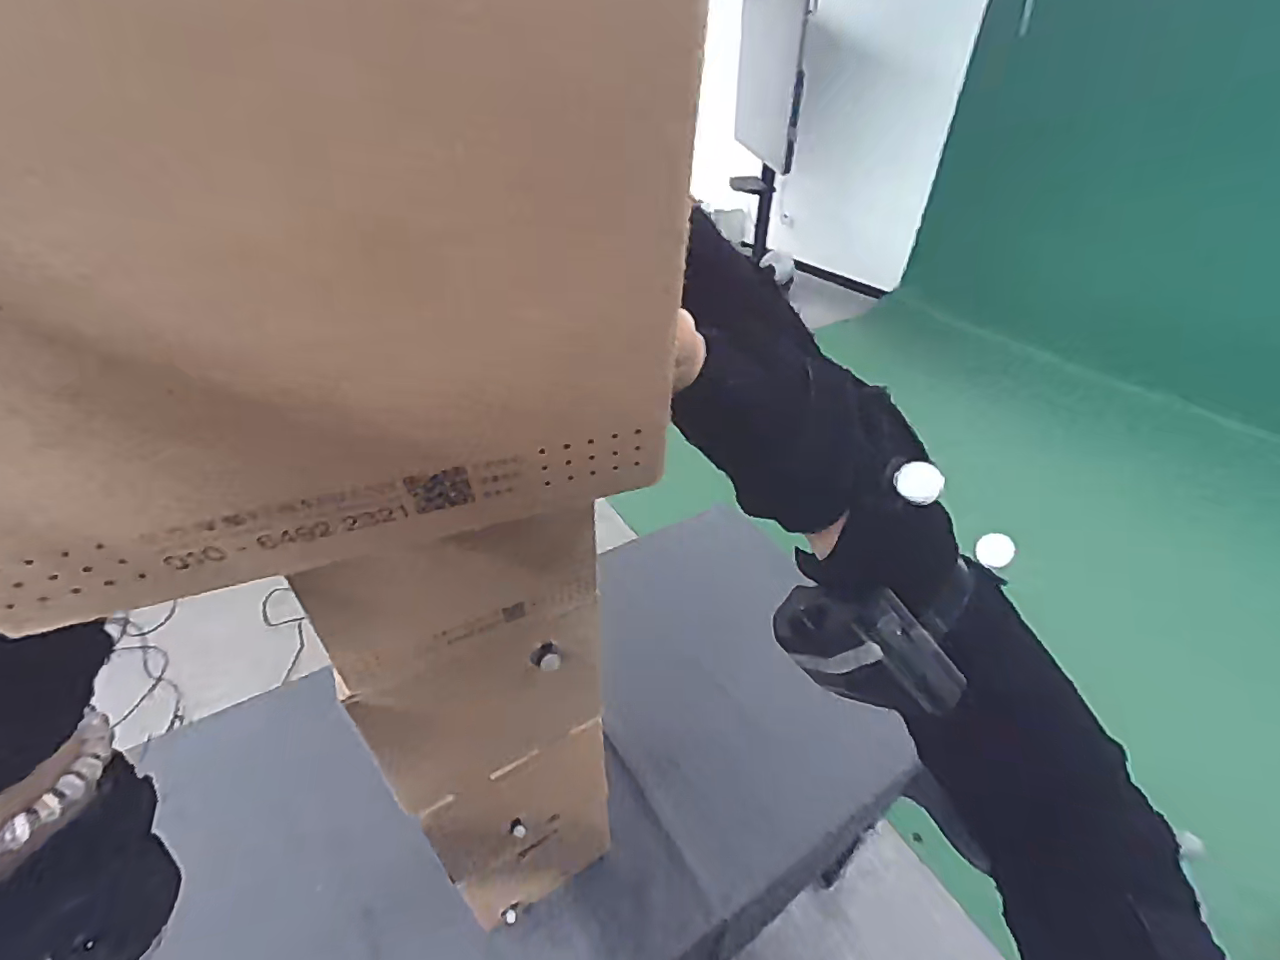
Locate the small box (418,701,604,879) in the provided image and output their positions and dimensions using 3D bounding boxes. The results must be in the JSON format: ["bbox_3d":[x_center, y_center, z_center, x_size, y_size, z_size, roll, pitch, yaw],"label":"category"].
[{"bbox_3d":[-0.149,0.264,0.570,0.168,0.176,0.179,-20,42,-24],"label":"small box"}]

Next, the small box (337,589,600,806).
[{"bbox_3d":[-0.146,0.134,0.469,0.179,0.176,0.168,-19,41,-23],"label":"small box"}]

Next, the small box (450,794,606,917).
[{"bbox_3d":[-0.151,0.393,0.668,0.168,0.176,0.179,-20,41,-25],"label":"small box"}]
